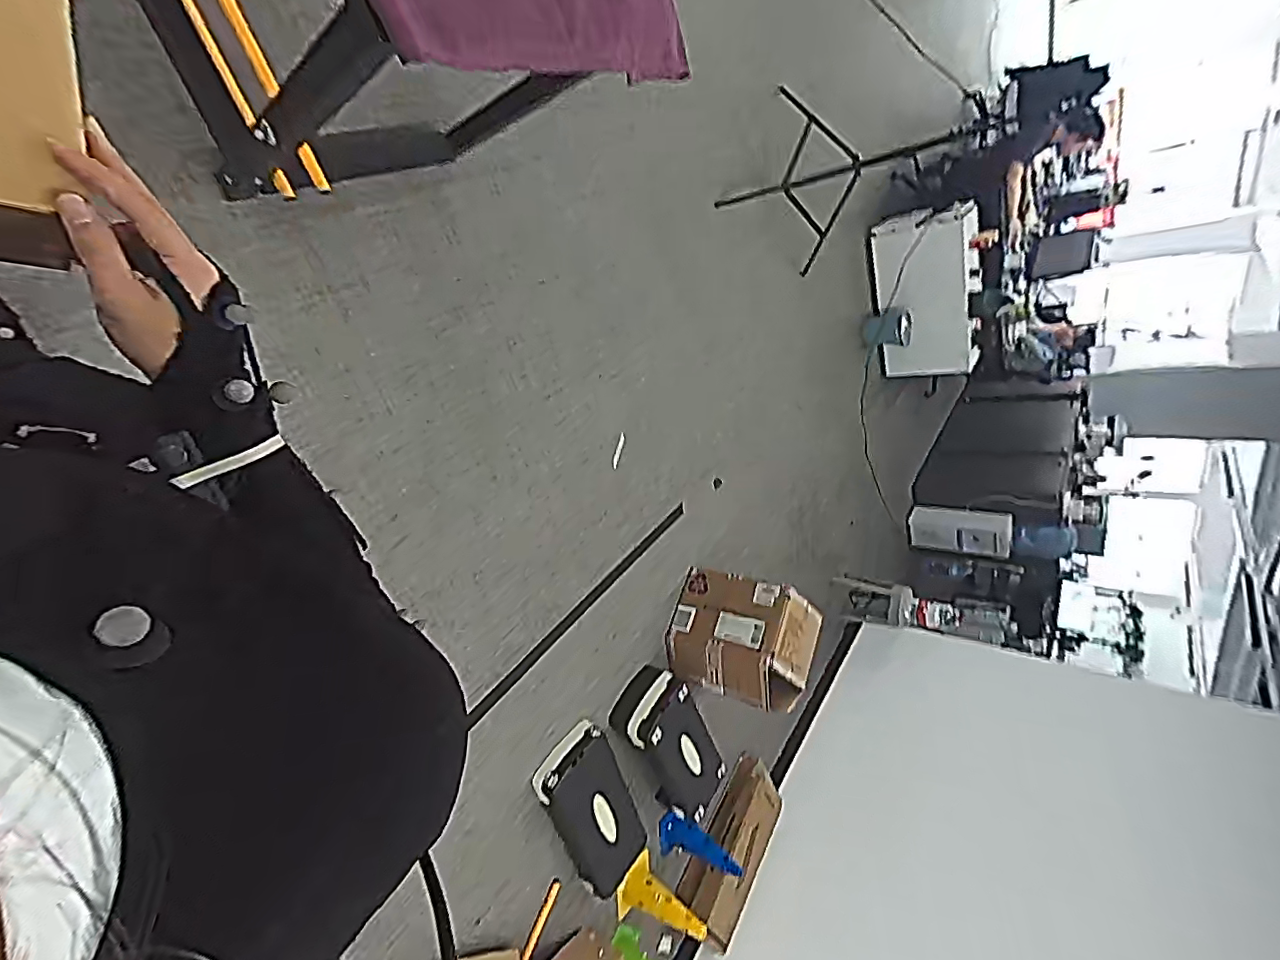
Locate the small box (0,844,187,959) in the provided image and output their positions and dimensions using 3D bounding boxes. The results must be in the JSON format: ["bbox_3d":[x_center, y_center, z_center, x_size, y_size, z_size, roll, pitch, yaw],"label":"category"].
[{"bbox_3d":[-0.872,0.713,0.844,0.168,0.176,0.179,-46,127,-36],"label":"small box"}]

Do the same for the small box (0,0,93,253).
[{"bbox_3d":[-0.423,-0.228,0.280,0.179,0.176,0.168,-8,102,-47],"label":"small box"}]
